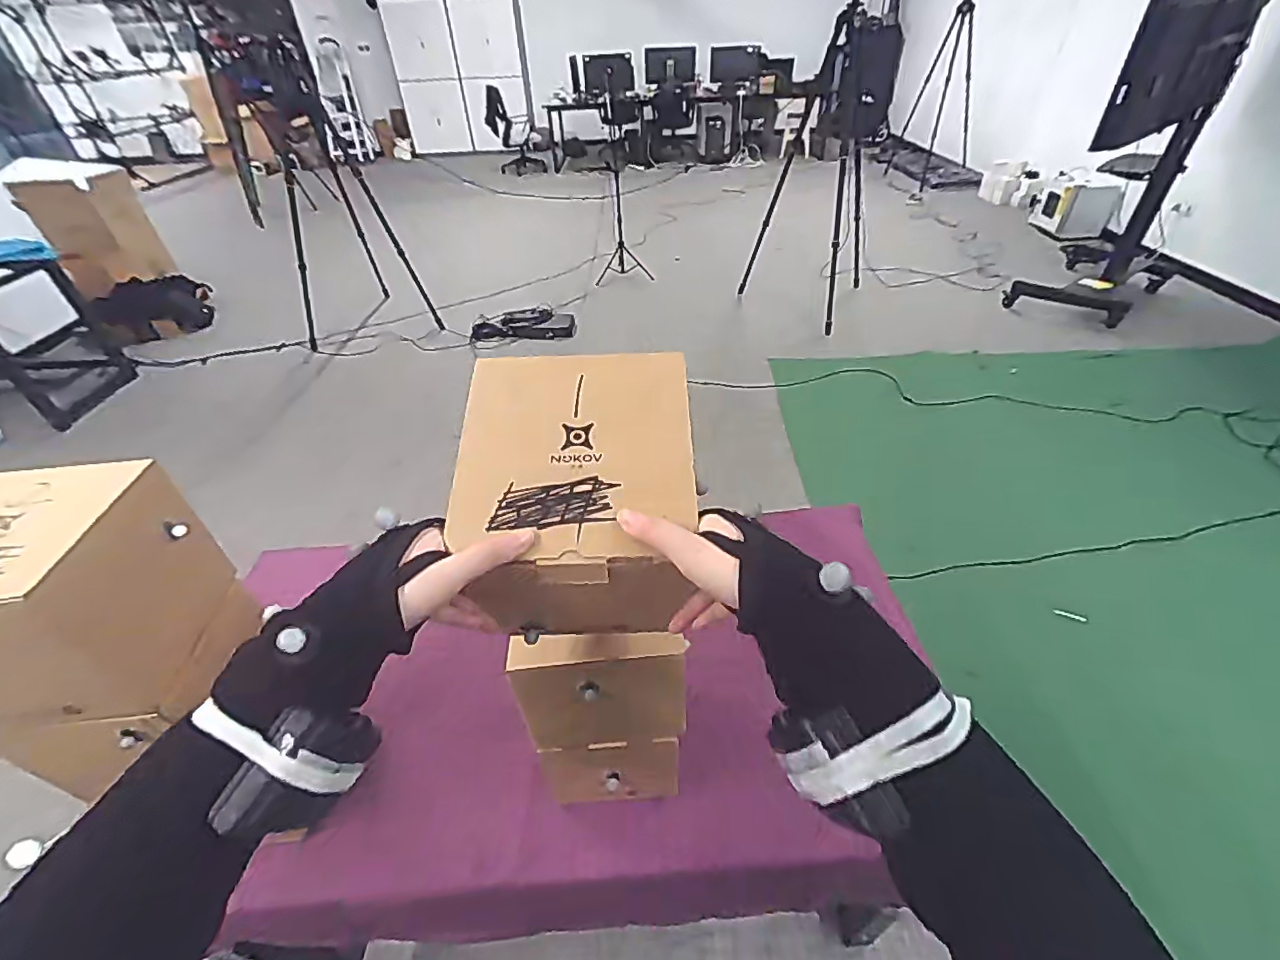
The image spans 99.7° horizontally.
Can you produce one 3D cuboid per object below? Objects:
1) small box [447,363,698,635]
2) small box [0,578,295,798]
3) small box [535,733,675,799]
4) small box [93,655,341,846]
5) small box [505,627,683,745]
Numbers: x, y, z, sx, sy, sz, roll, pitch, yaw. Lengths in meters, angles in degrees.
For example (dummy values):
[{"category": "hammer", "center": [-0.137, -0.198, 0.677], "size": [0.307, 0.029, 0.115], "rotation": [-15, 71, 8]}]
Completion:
[{"category": "small box", "center": [-0.041, 0.025, 0.453], "size": [0.168, 0.176, 0.179], "rotation": [-1, 57, 0]}, {"category": "small box", "center": [-0.537, 0.234, 0.610], "size": [0.179, 0.176, 0.168], "rotation": [-5, 40, -5]}, {"category": "small box", "center": [-0.040, 0.315, 0.737], "size": [0.168, 0.176, 0.179], "rotation": [-3, 41, -1]}, {"category": "small box", "center": [-0.528, 0.359, 0.713], "size": [0.168, 0.176, 0.179], "rotation": [-4, 39, -3]}, {"category": "small box", "center": [-0.044, 0.190, 0.630], "size": [0.179, 0.176, 0.168], "rotation": [-4, 40, -1]}]
